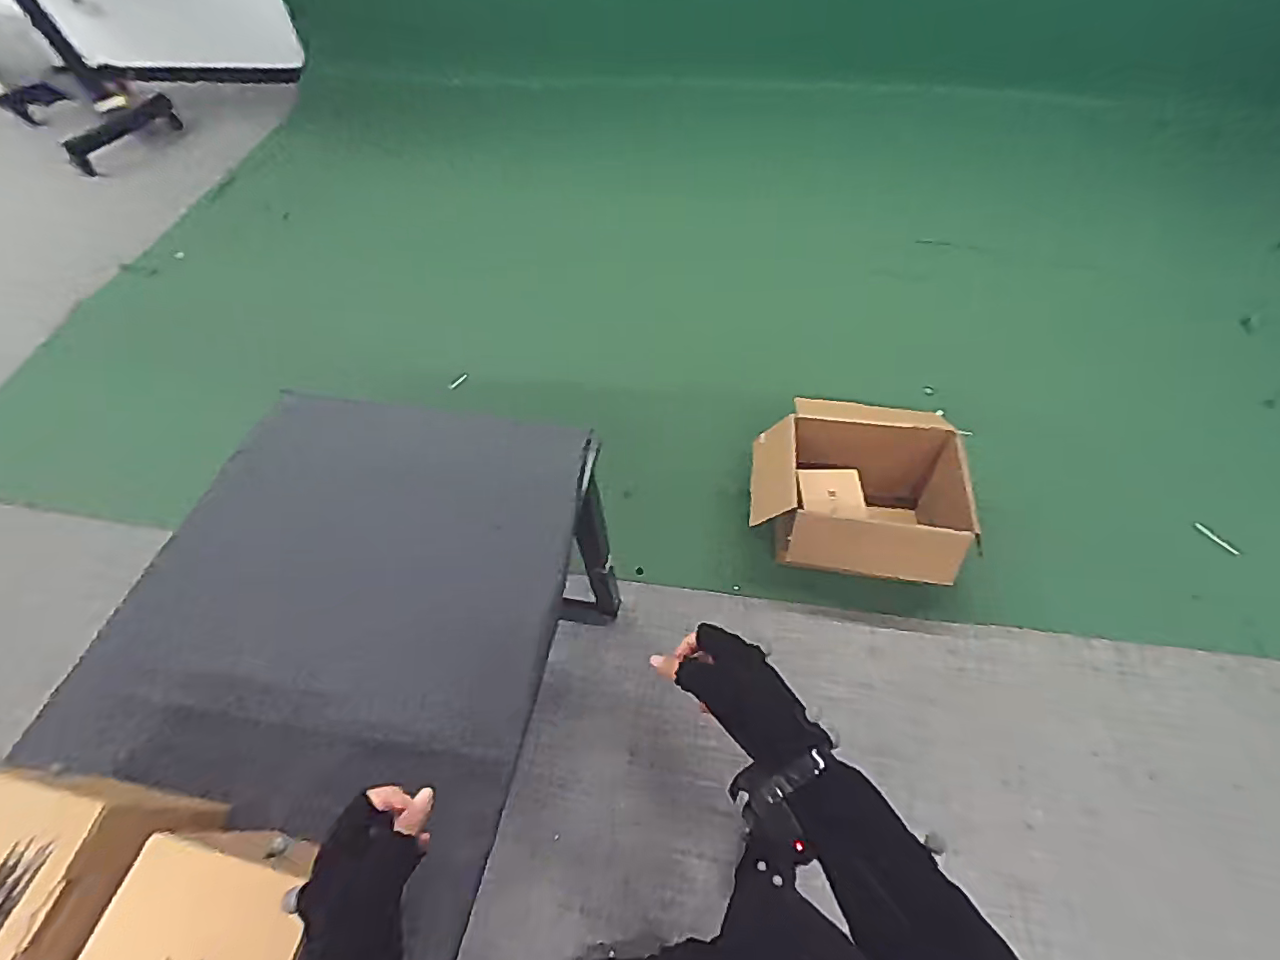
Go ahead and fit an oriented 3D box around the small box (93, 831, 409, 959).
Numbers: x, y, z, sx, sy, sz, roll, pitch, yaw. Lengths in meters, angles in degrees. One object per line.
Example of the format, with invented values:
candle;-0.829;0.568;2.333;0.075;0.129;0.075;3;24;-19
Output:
small box;-0.350;0.438;0.489;0.179;0.176;0.168;8;57;10
